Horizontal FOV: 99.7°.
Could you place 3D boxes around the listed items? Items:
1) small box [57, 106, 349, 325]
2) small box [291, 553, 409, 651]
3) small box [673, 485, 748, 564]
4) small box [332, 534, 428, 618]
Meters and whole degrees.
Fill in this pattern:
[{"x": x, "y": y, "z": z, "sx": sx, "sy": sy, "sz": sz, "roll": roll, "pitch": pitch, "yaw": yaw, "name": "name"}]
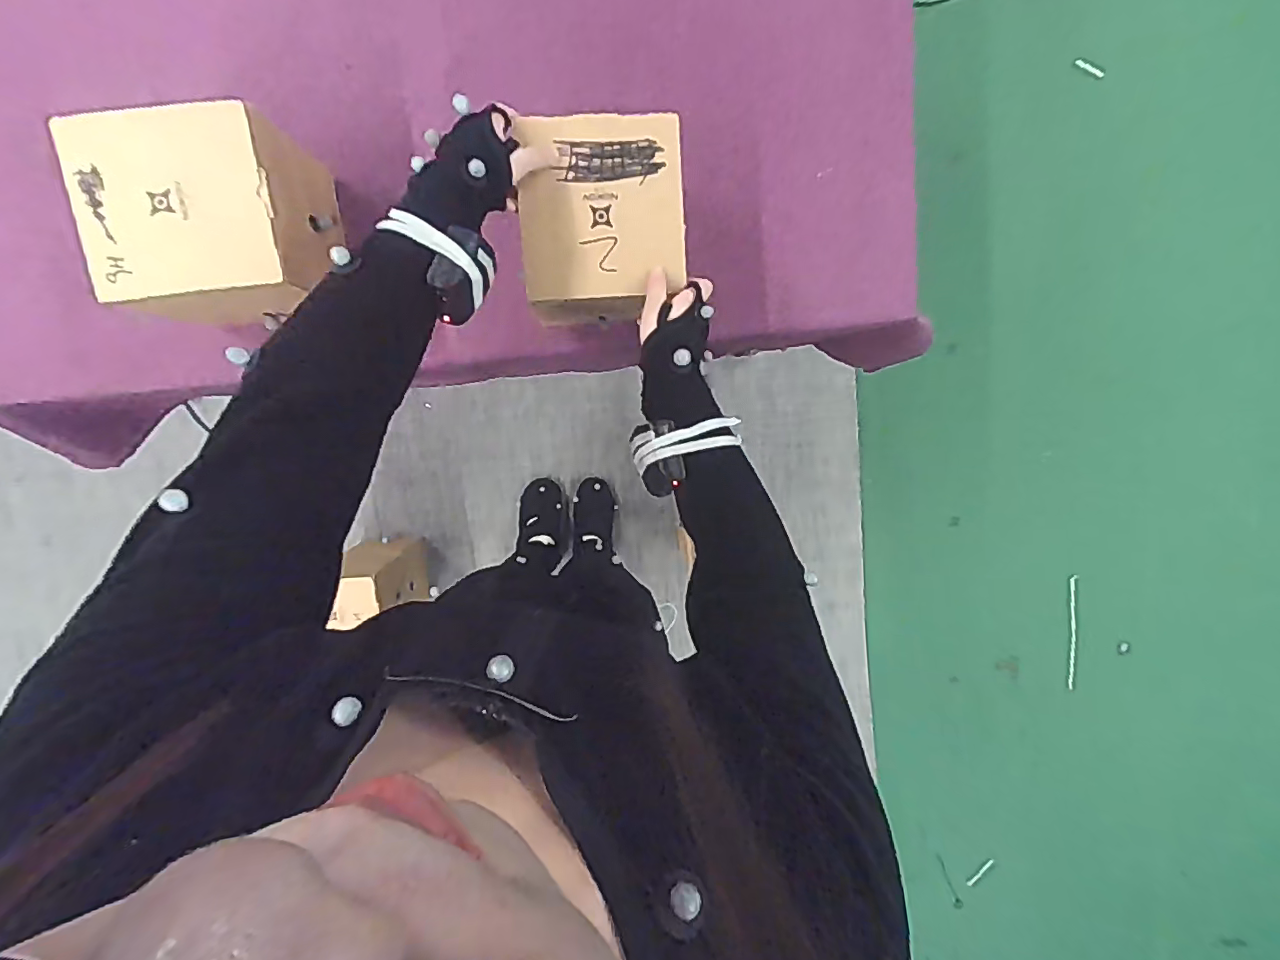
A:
[{"x": -0.443, "y": -0.270, "z": 0.588, "sx": 0.179, "sy": 0.176, "sz": 0.168, "roll": -8, "pitch": 98, "yaw": -5, "name": "small box"}, {"x": -0.646, "y": 0.269, "z": 1.224, "sx": 0.179, "sy": 0.176, "sz": 0.168, "roll": -4, "pitch": 99, "yaw": -5, "name": "small box"}, {"x": 0.188, "y": 0.114, "z": 1.445, "sx": 0.179, "sy": 0.176, "sz": 0.168, "roll": -8, "pitch": 99, "yaw": -5, "name": "small box"}, {"x": -0.657, "y": 0.248, "z": 1.386, "sx": 0.168, "sy": 0.176, "sz": 0.179, "roll": -5, "pitch": 98, "yaw": -5, "name": "small box"}]
